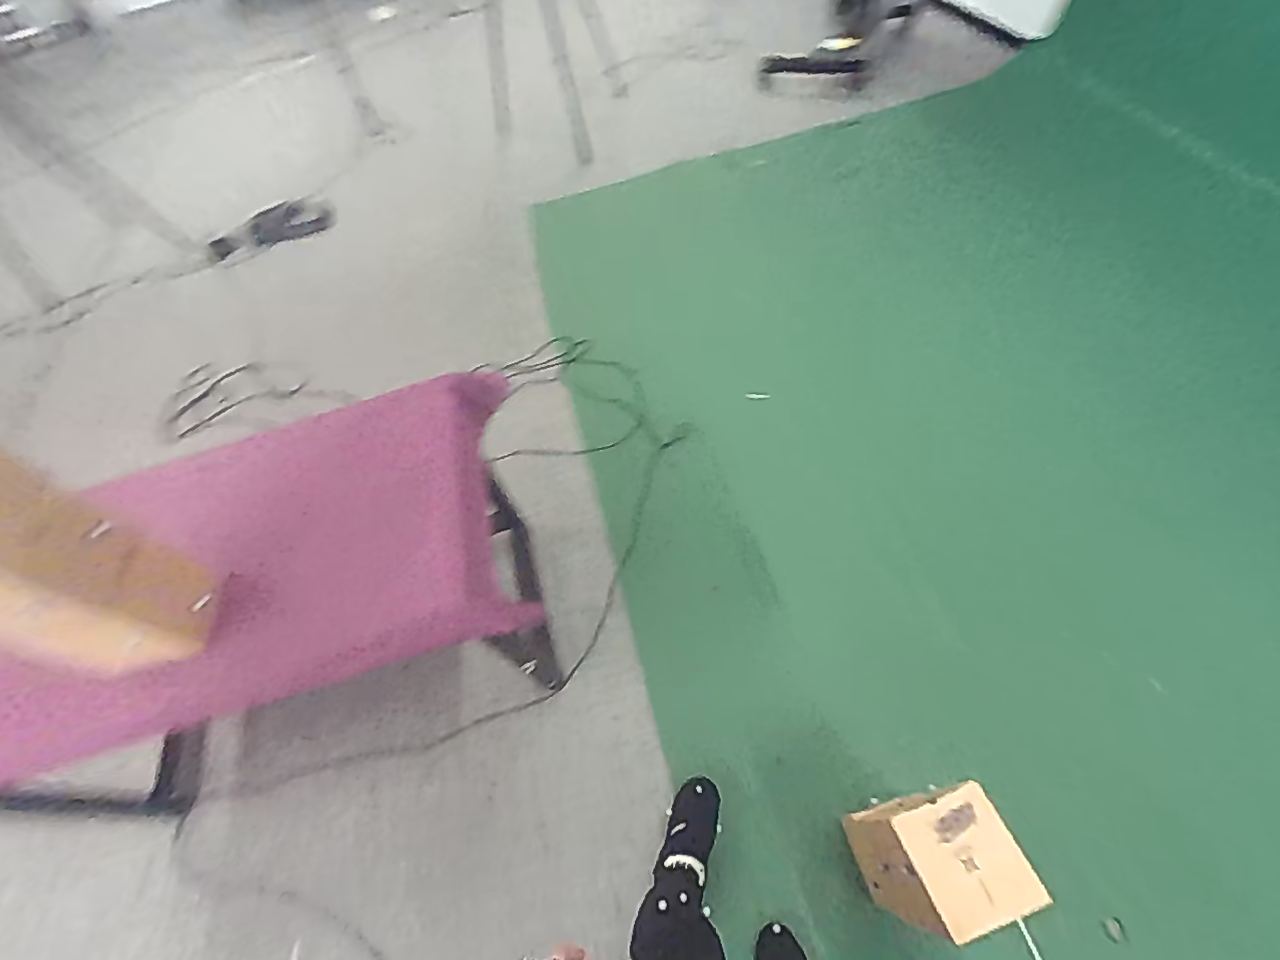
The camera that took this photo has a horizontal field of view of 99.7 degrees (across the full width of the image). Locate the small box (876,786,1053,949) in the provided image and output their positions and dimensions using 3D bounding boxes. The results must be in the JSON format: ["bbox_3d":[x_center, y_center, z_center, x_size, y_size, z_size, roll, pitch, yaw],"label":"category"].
[{"bbox_3d":[0.530,0.648,0.918,0.168,0.176,0.179,-20,56,-3],"label":"small box"}]

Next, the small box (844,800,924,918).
[{"bbox_3d":[0.573,0.825,1.190,0.168,0.176,0.179,-16,55,-1],"label":"small box"}]

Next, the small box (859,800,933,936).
[{"bbox_3d":[0.553,0.741,1.052,0.168,0.176,0.179,-19,55,-2],"label":"small box"}]
